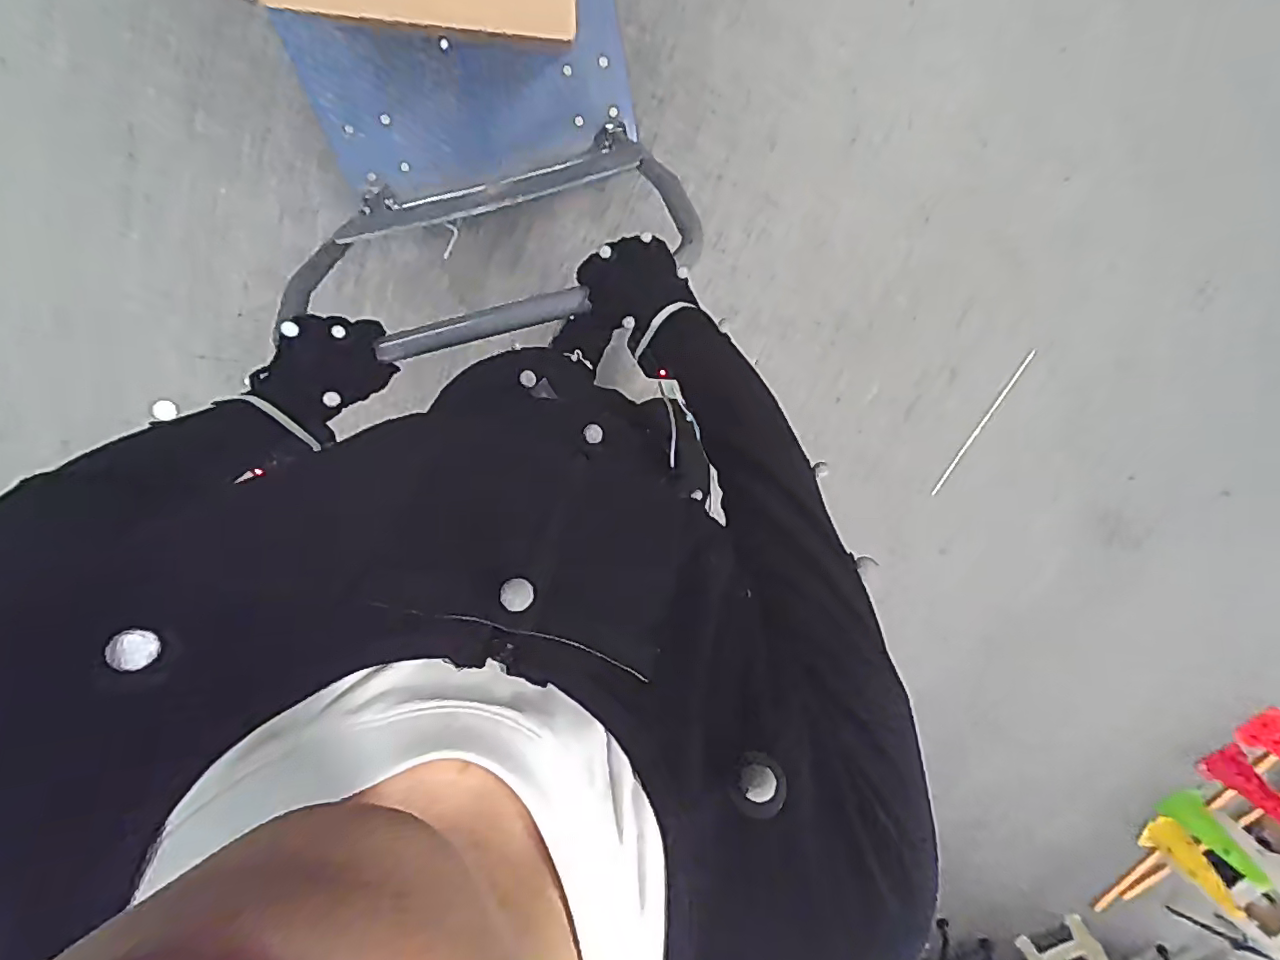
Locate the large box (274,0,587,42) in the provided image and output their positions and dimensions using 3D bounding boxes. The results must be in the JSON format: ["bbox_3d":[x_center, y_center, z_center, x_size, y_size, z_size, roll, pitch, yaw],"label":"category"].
[{"bbox_3d":[-0.279,-0.821,0.749,0.408,0.320,0.320,0,126,-8],"label":"large box"}]
